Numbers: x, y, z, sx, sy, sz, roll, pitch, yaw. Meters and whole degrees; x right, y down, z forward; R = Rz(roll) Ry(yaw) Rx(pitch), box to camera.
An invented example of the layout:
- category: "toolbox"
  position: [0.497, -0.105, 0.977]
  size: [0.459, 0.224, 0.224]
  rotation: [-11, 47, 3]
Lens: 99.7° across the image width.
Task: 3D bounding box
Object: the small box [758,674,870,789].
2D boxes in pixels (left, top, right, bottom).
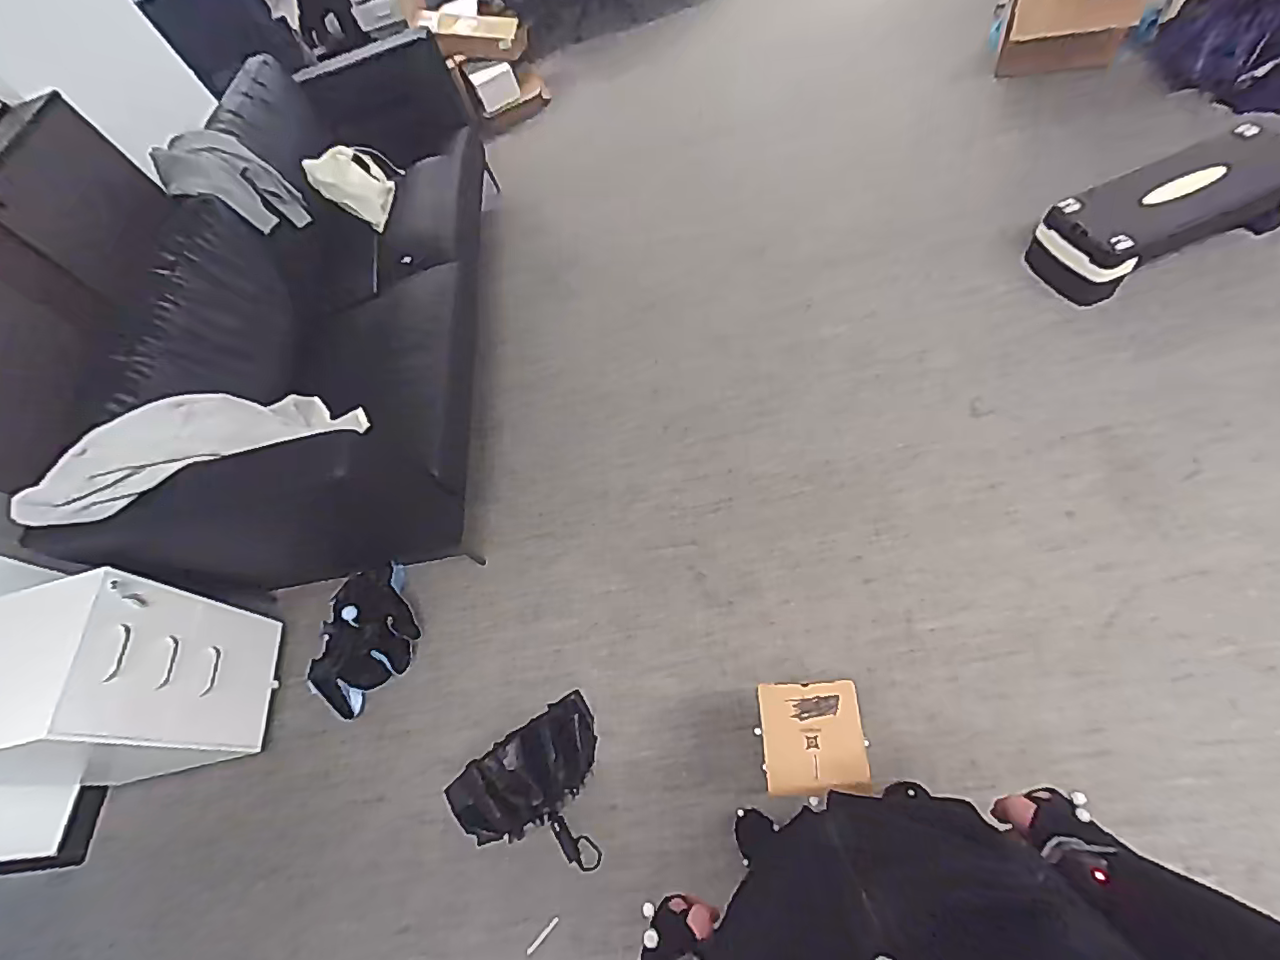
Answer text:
- category: "small box"
  position: [0.306, 0.460, 0.984]
  size: [0.168, 0.176, 0.179]
  rotation: [-6, 61, 12]
